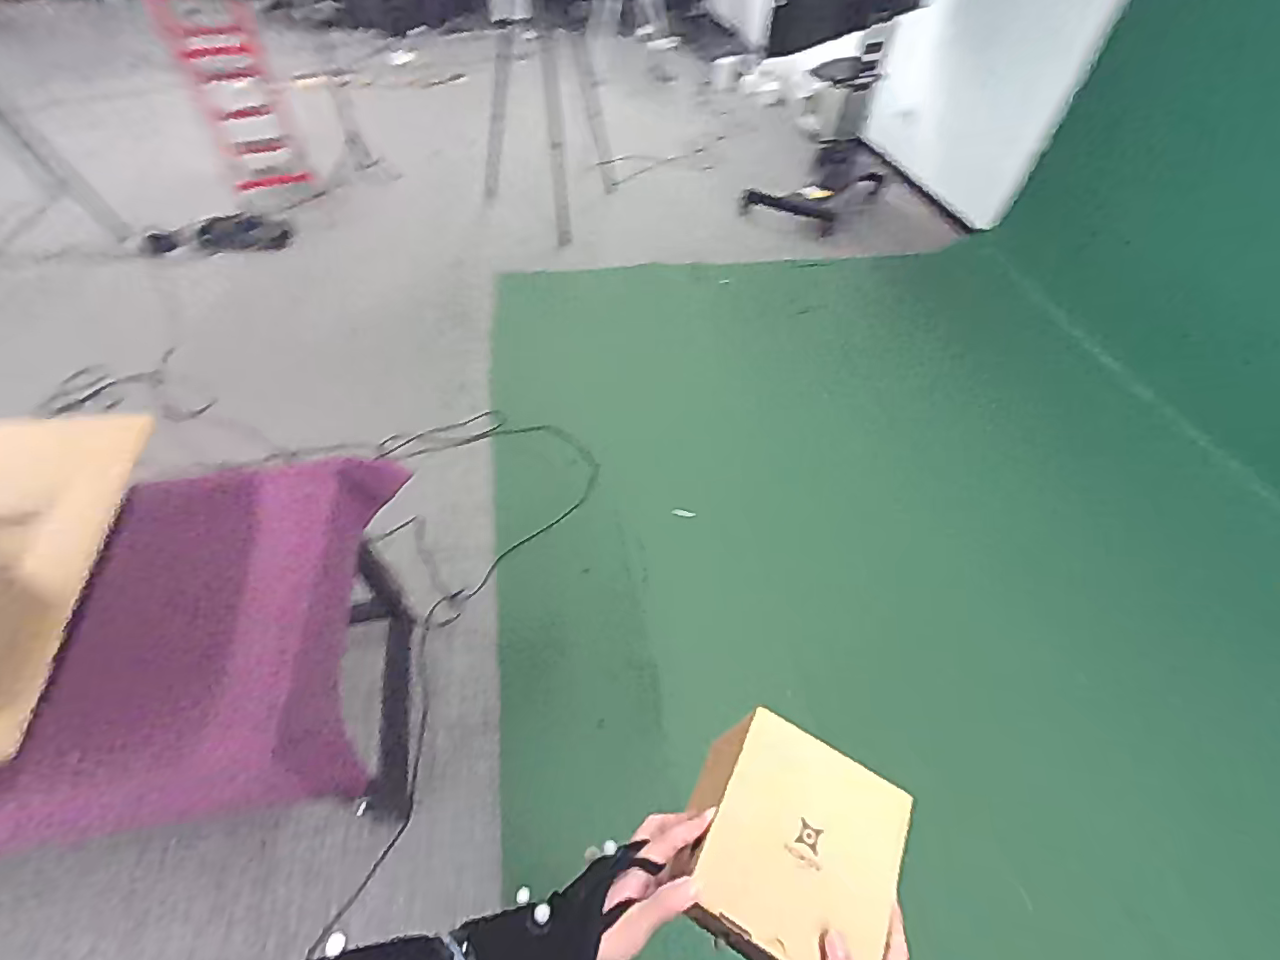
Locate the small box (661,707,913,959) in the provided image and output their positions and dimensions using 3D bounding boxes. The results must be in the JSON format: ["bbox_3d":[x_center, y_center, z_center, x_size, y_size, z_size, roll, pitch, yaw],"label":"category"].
[{"bbox_3d":[0.136,0.366,0.542,0.168,0.176,0.179,29,55,10],"label":"small box"}]
